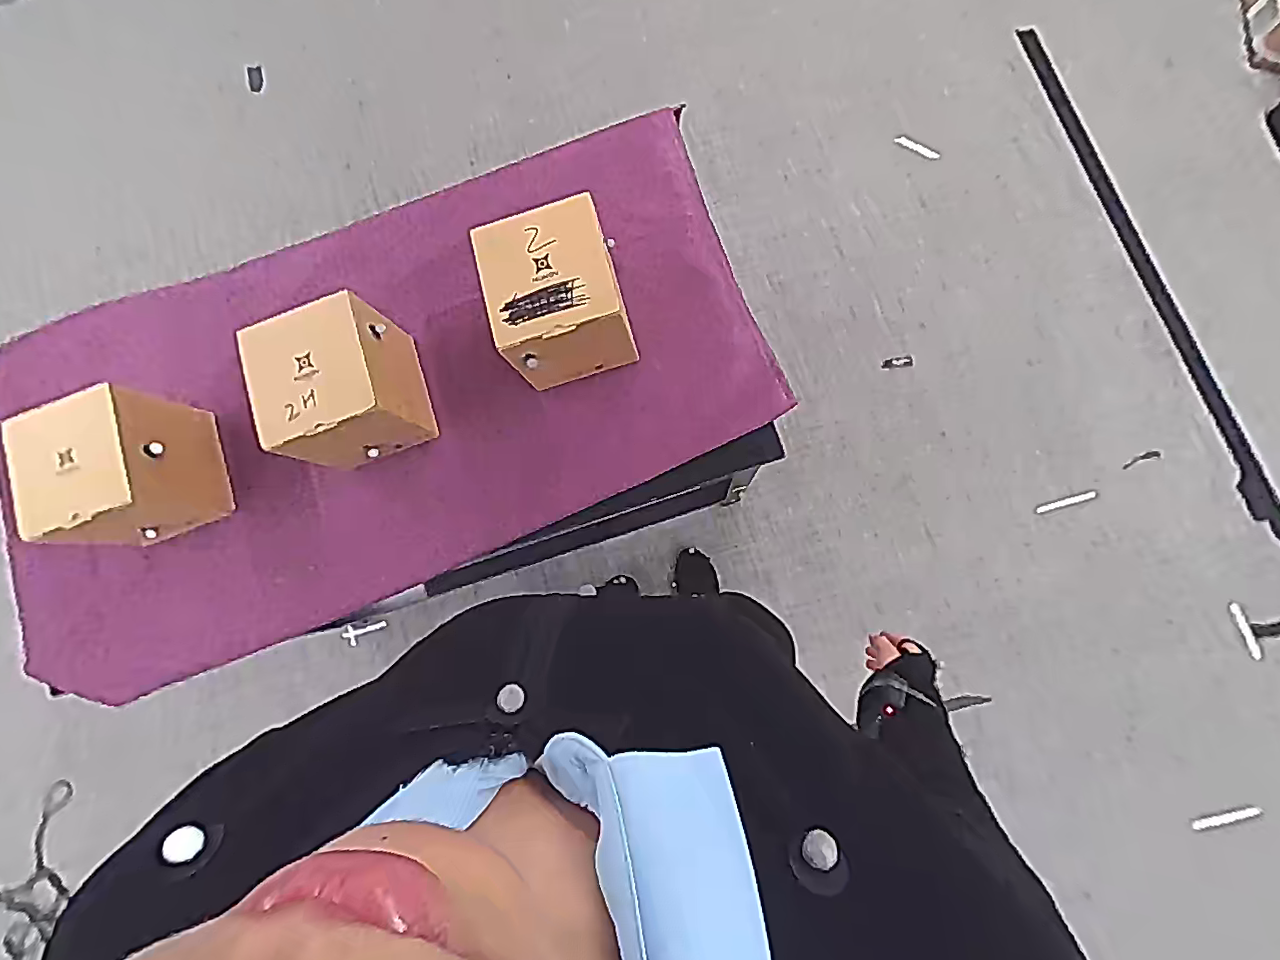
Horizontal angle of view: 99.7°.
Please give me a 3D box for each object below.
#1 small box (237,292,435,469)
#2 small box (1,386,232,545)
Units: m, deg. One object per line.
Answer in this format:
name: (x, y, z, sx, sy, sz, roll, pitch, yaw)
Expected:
small box: (-0.425, -0.131, 0.779, 0.168, 0.176, 0.179, -20, 81, 4)
small box: (-0.757, -0.011, 0.799, 0.168, 0.176, 0.179, -20, 81, 2)
